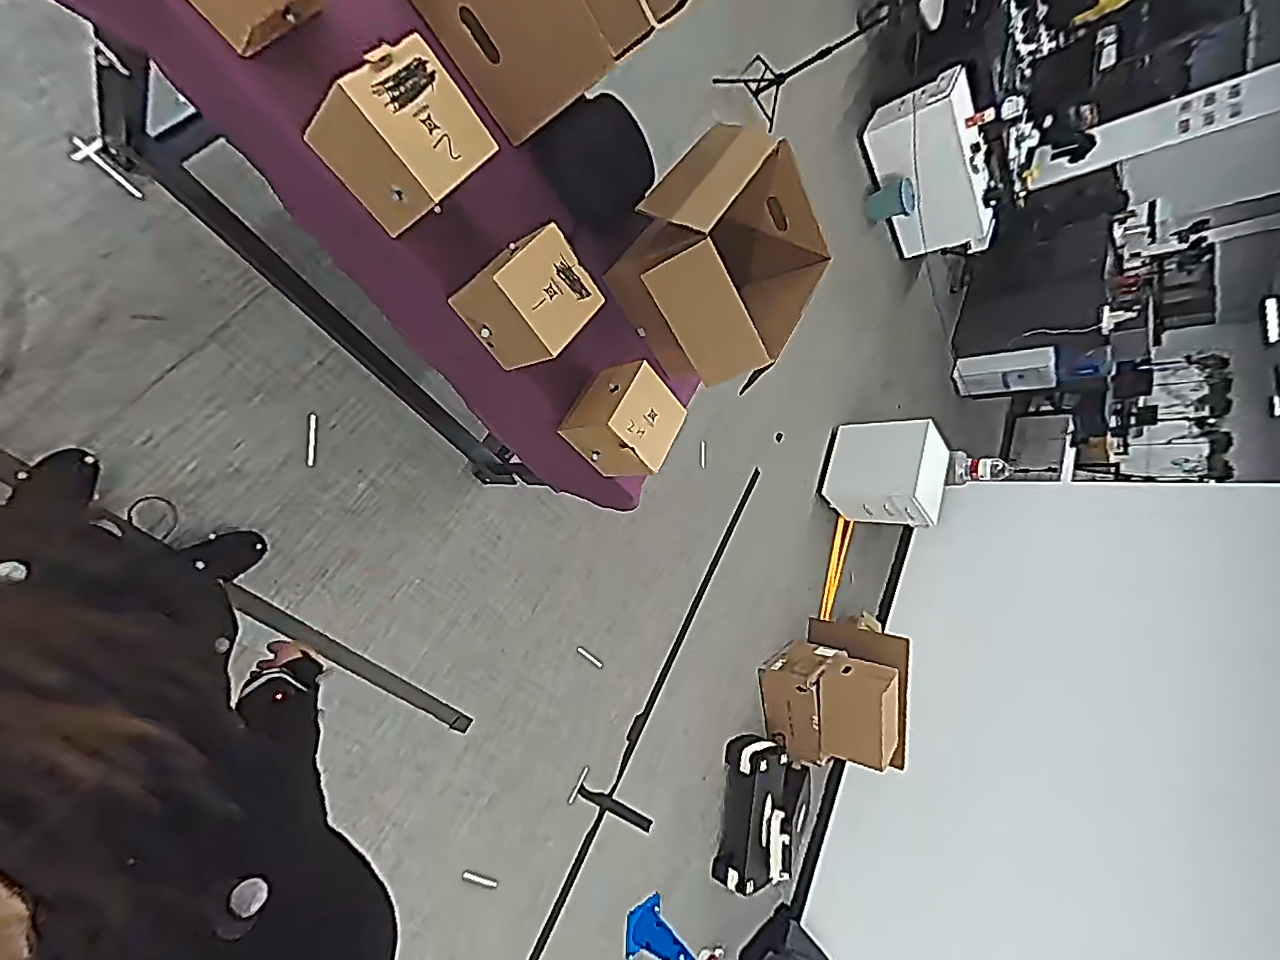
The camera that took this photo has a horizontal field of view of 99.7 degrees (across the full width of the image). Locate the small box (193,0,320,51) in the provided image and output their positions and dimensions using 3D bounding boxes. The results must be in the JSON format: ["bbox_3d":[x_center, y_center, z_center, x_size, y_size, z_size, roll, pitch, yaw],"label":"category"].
[{"bbox_3d":[-0.518,-0.715,0.692,0.179,0.176,0.168,46,60,-36],"label":"small box"}]

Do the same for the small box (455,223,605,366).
[{"bbox_3d":[-0.205,-0.335,0.999,0.168,0.176,0.179,52,58,-31],"label":"small box"}]

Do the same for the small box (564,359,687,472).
[{"bbox_3d":[-0.033,-0.133,1.166,0.168,0.176,0.179,45,61,-33],"label":"small box"}]
